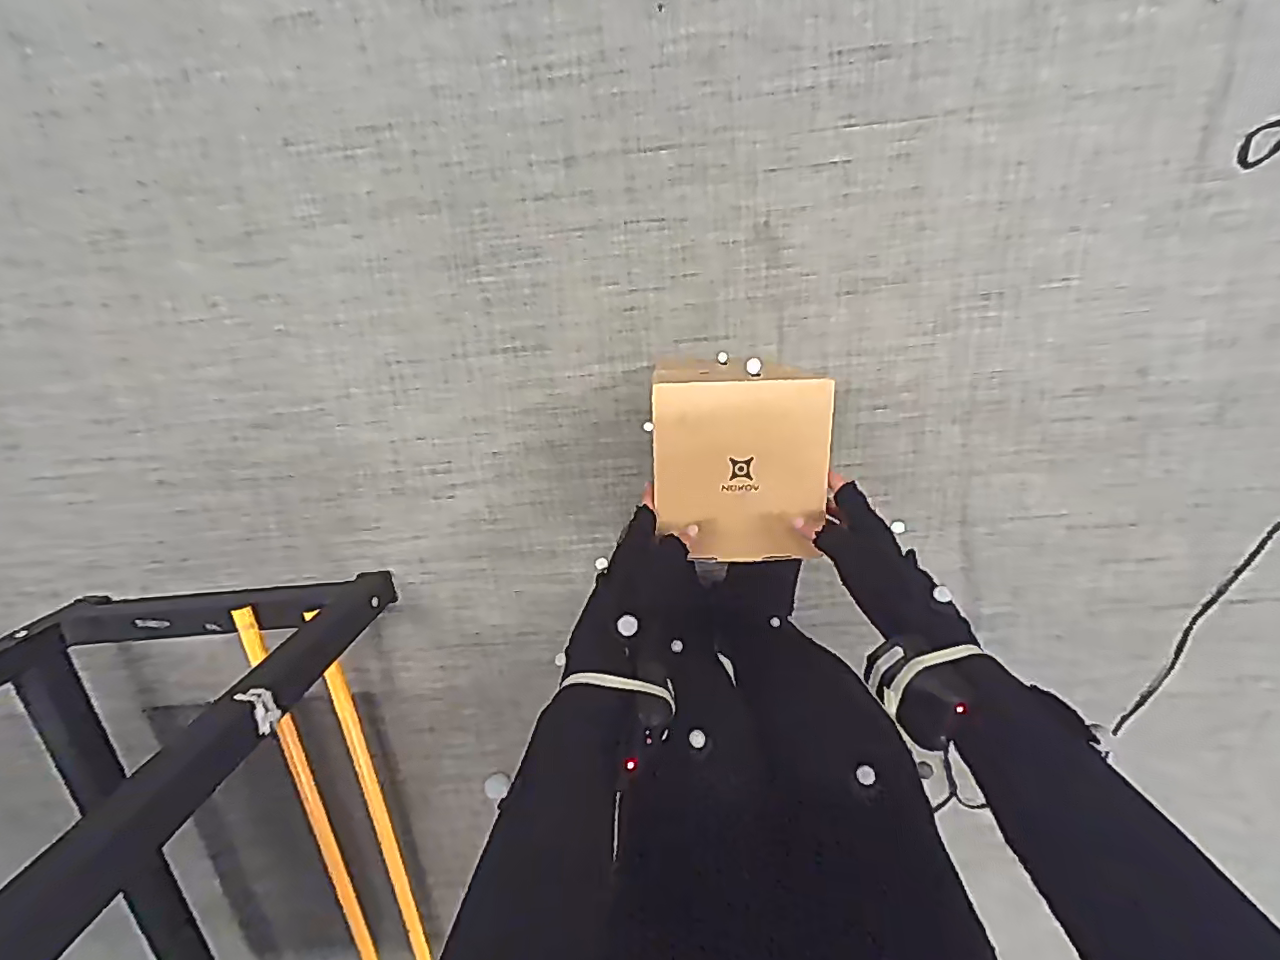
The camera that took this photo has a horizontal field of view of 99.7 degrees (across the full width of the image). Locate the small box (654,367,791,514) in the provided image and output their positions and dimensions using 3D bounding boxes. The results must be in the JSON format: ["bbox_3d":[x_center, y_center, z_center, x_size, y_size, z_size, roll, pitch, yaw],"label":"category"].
[{"bbox_3d":[0.103,-0.063,0.750,0.168,0.176,0.179,1,107,3],"label":"small box"}]
